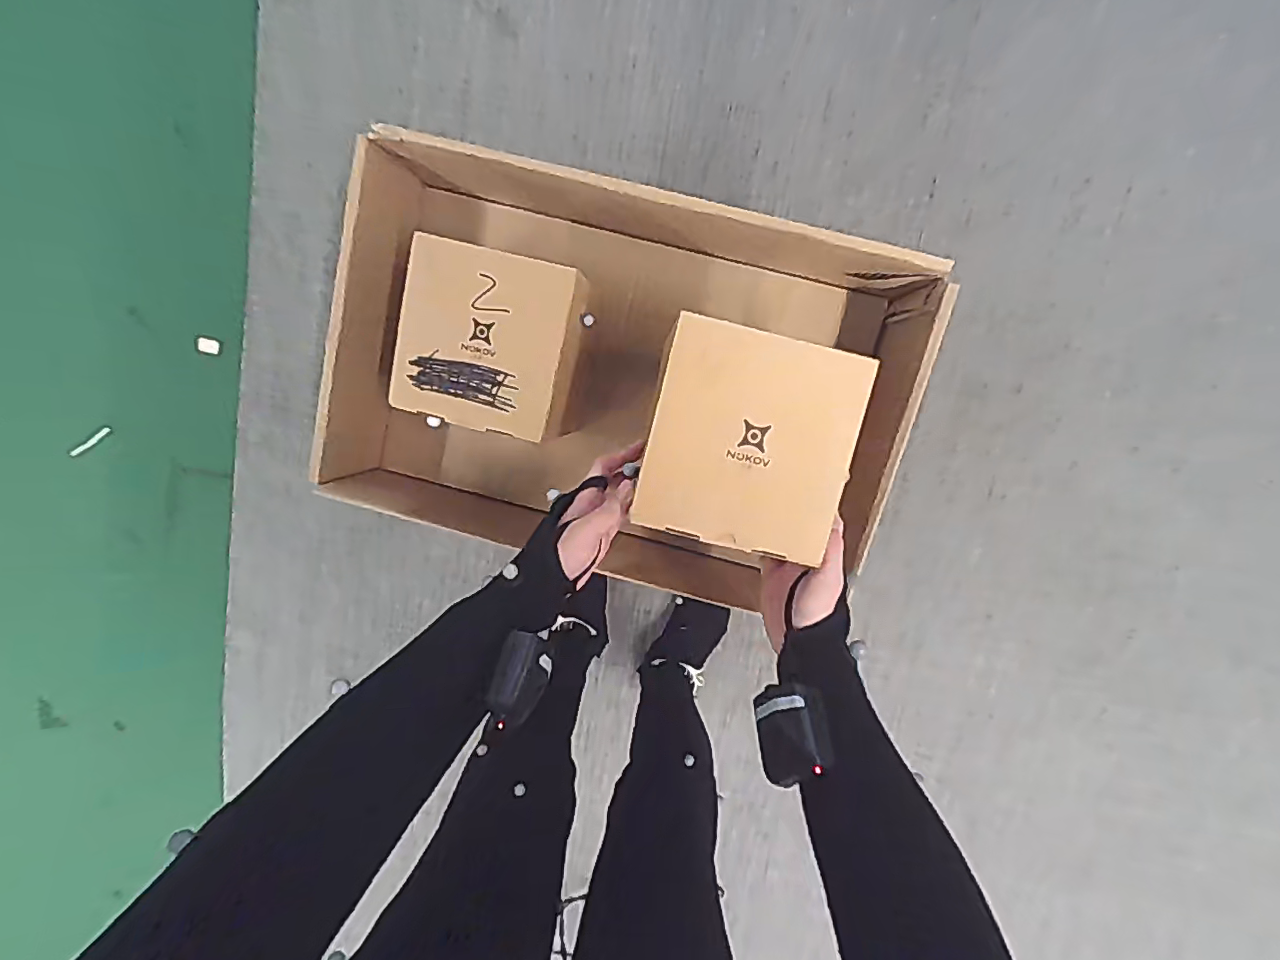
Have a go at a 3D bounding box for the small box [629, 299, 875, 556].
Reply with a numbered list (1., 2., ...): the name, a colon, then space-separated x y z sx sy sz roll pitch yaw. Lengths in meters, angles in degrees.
1. small box: 0.086 -0.047 0.509 0.168 0.176 0.179 13 96 -2
